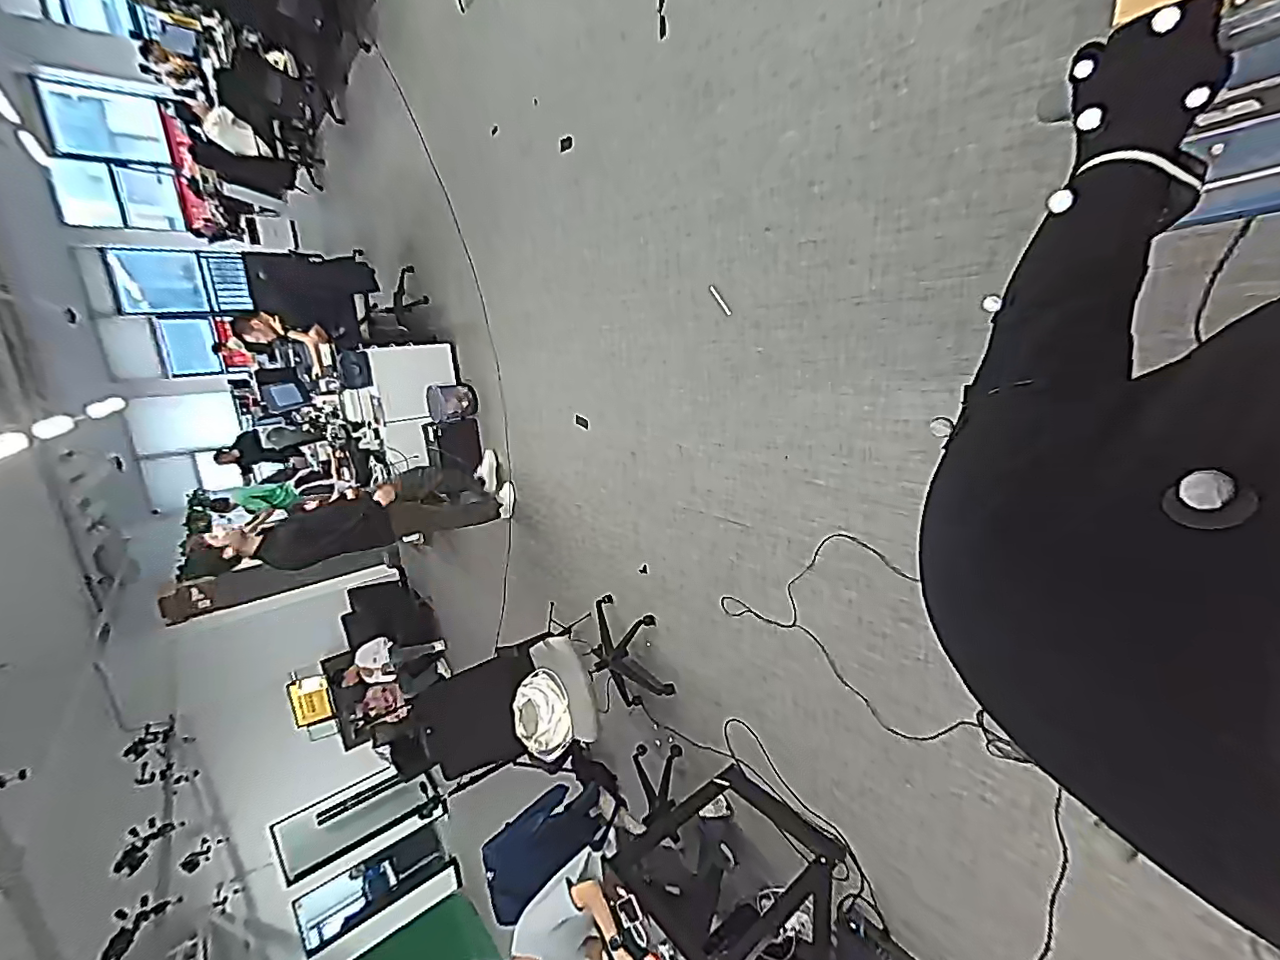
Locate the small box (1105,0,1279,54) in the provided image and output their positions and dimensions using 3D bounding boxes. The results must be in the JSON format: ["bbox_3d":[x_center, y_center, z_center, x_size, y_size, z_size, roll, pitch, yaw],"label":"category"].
[{"bbox_3d":[0.822,-0.763,0.786,0.179,0.176,0.168,16,114,48],"label":"small box"}]
